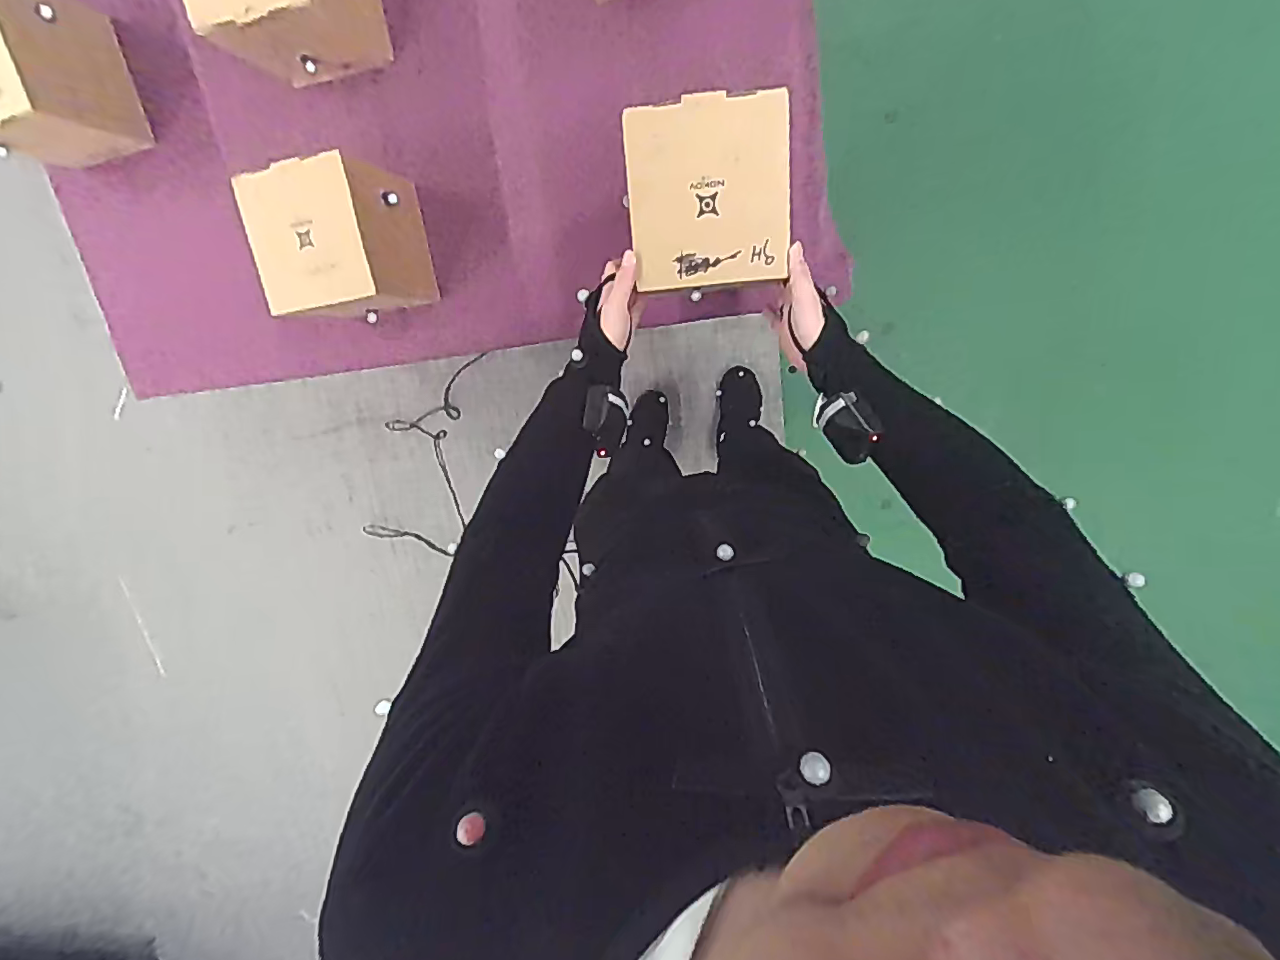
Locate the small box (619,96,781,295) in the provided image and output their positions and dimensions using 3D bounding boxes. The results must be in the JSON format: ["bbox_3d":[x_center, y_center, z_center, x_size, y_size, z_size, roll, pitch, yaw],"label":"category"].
[{"bbox_3d":[0.073,-0.318,0.641,0.168,0.176,0.179,-2,109,8],"label":"small box"}]

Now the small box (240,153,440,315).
[{"bbox_3d":[-0.423,-0.344,0.792,0.168,0.176,0.179,-5,105,12],"label":"small box"}]

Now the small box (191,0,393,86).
[{"bbox_3d":[-0.457,-0.657,0.704,0.168,0.176,0.179,-4,108,11],"label":"small box"}]
